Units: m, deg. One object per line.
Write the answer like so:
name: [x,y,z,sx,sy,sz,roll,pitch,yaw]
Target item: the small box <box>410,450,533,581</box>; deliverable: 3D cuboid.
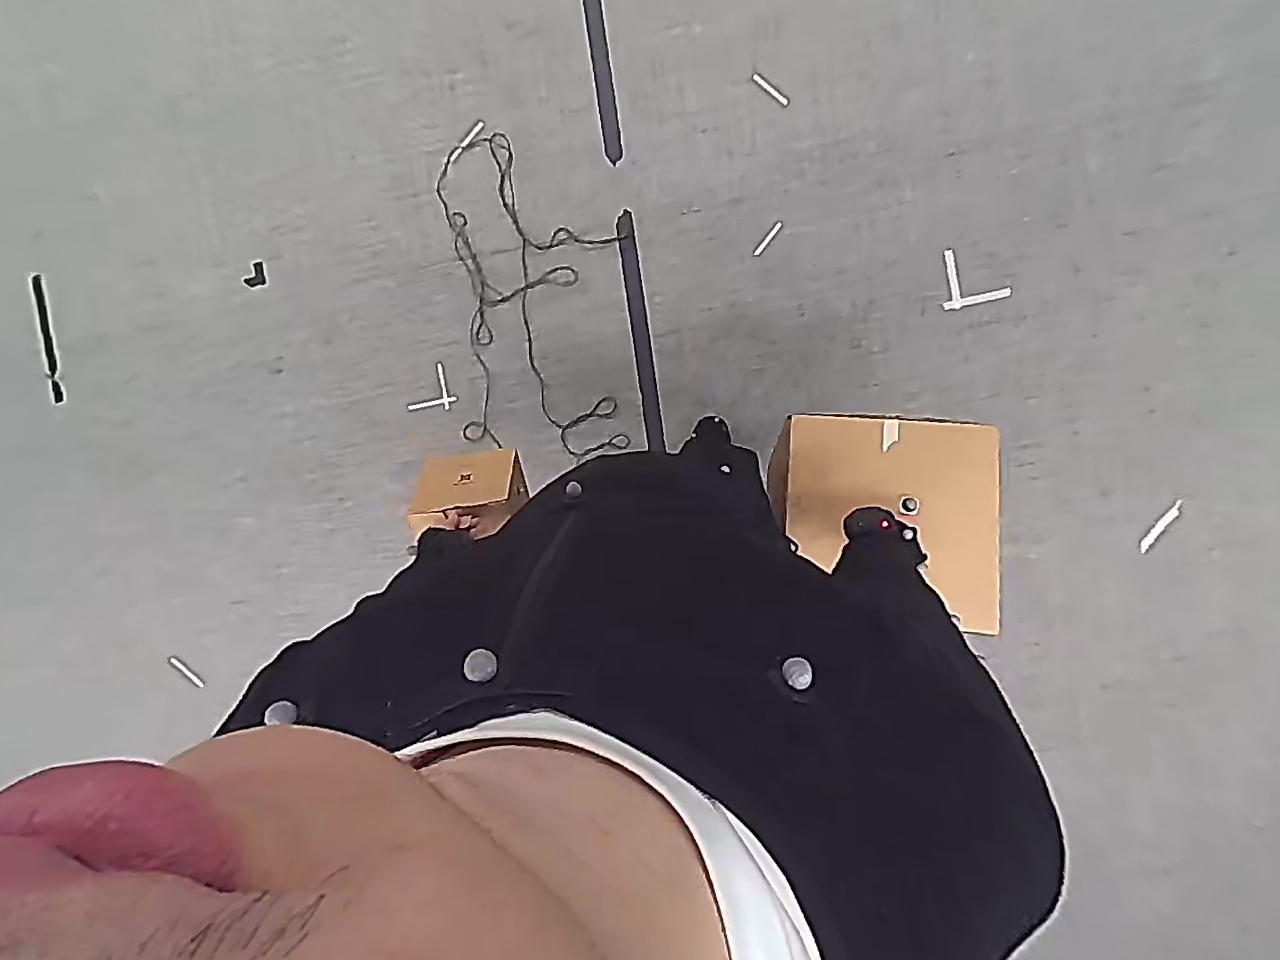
small box: [-0.296,0.069,0.994,0.168,0.179,0.176,-8,123,-3]
